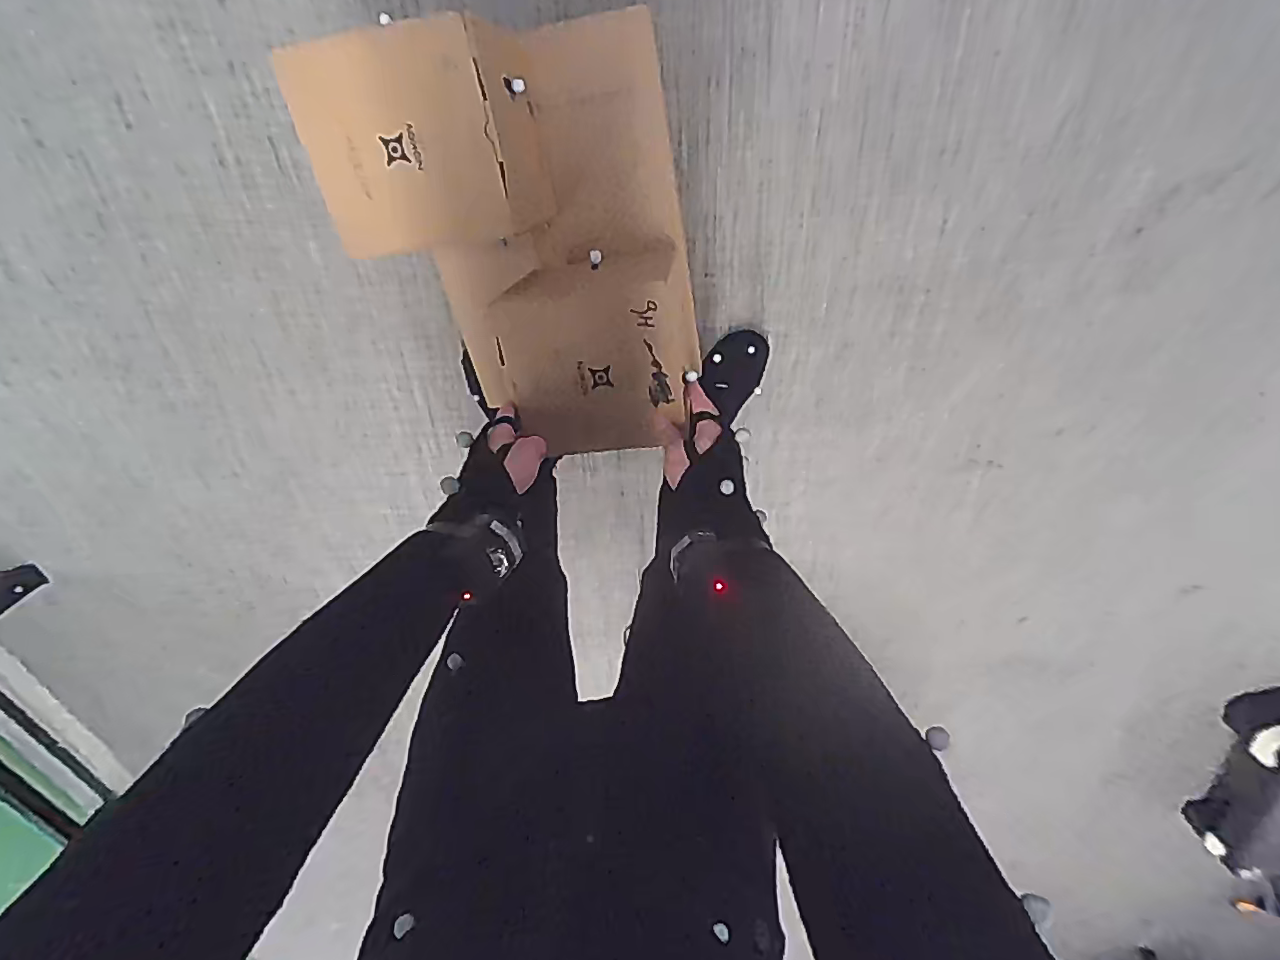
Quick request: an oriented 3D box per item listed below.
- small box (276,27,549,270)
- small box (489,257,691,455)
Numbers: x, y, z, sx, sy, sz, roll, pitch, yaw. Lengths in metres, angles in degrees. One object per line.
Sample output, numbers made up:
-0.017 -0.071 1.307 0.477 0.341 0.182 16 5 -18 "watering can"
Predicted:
-0.200 -0.322 0.543 0.179 0.176 0.168 -4 120 10 "small box"
-0.040 -0.142 0.605 0.179 0.176 0.168 -4 121 10 "small box"
